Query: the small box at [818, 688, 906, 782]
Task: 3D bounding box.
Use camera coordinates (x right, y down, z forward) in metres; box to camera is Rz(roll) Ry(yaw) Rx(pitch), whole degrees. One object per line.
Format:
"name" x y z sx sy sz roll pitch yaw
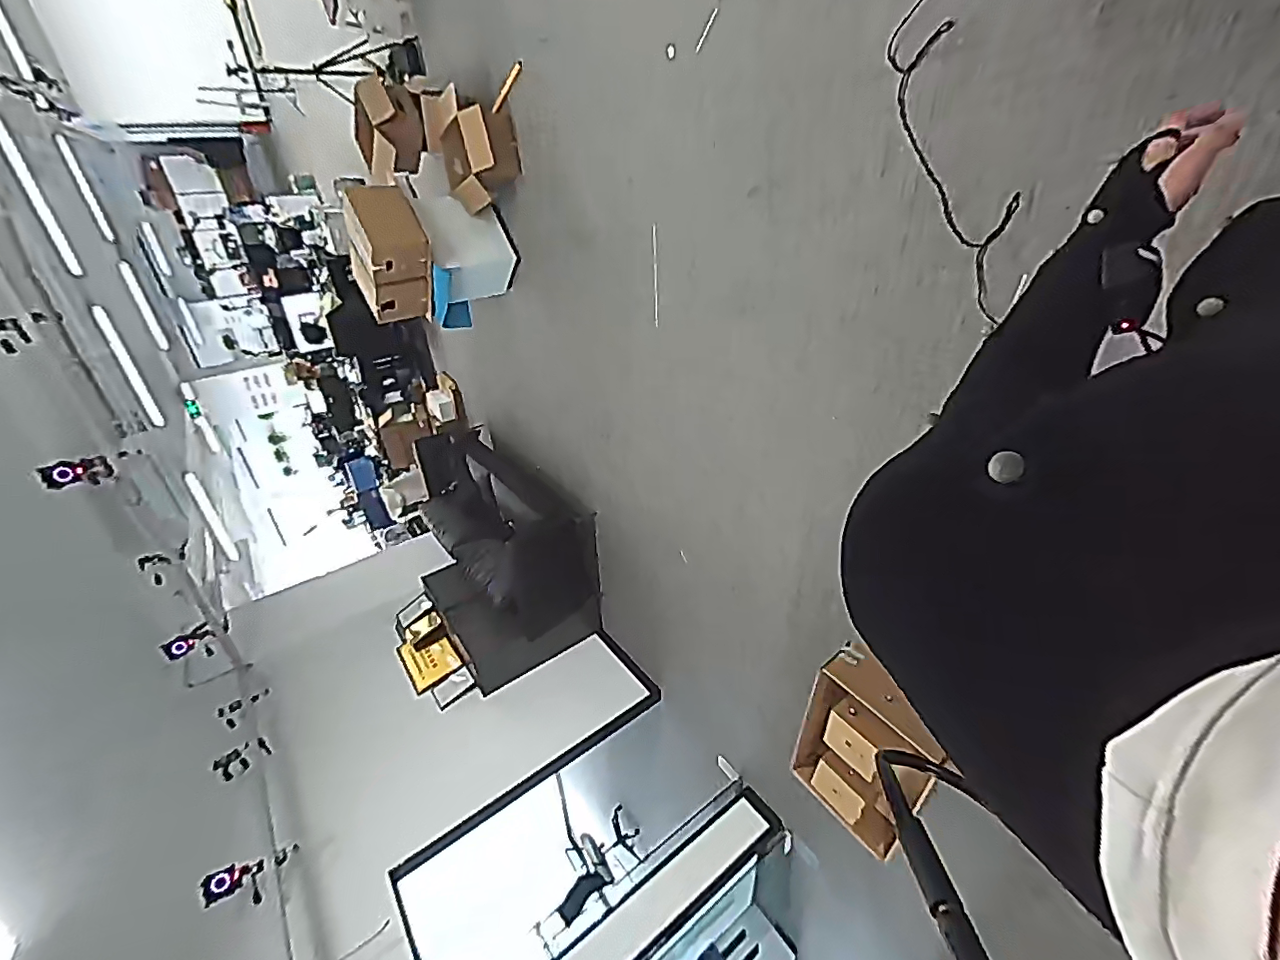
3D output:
"small box" 0.687 0.780 1.679 0.179 0.176 0.168 34 137 42

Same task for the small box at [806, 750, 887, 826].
"small box" 0.696 1.006 1.822 0.179 0.176 0.168 38 139 40
